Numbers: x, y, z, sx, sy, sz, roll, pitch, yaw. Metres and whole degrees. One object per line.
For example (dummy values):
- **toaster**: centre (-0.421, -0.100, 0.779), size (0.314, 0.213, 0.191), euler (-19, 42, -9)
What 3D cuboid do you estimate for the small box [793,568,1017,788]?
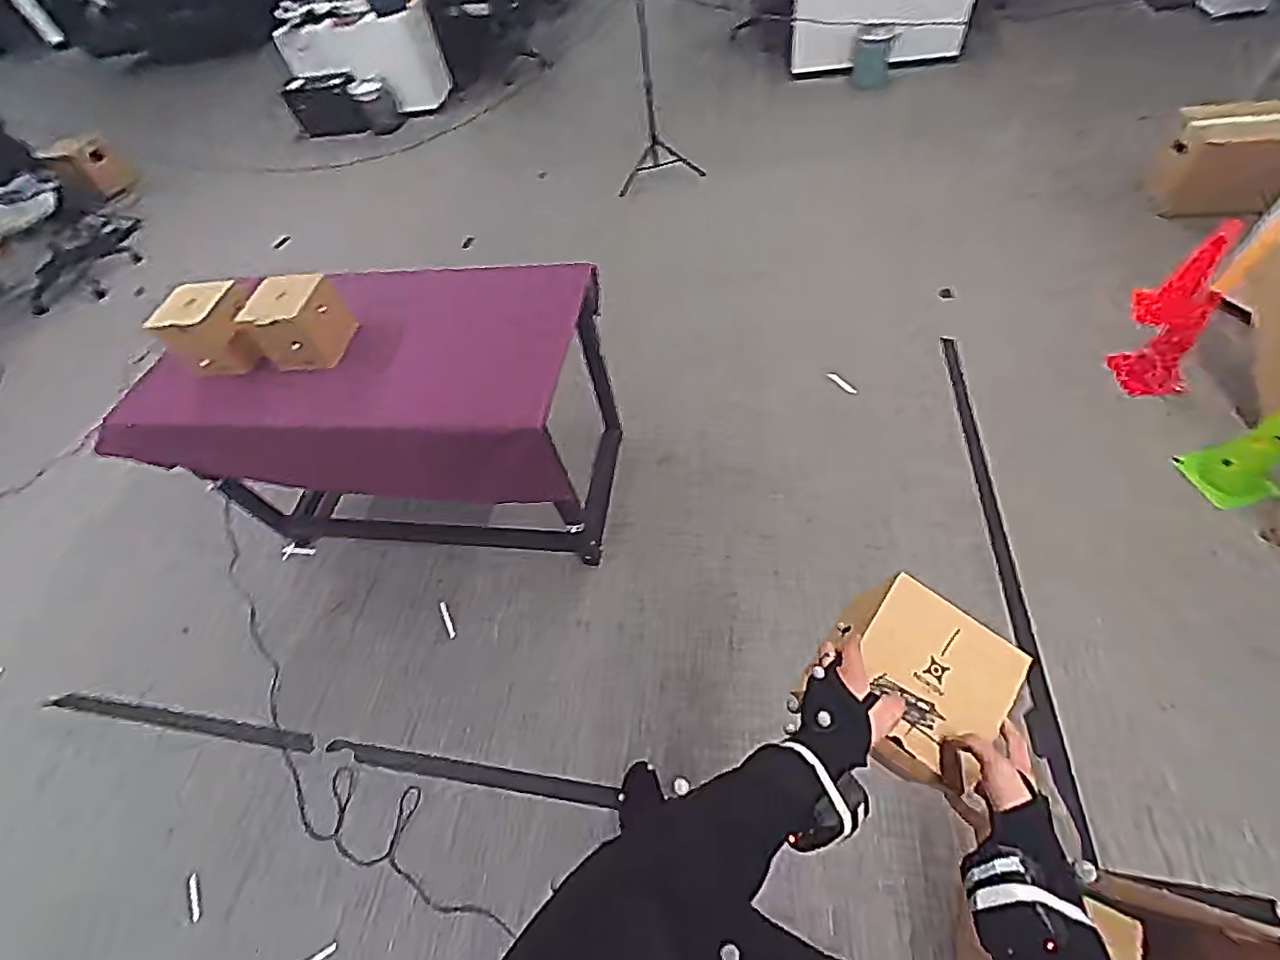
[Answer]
- **small box**: centre (0.311, 0.242, 0.675), size (0.168, 0.176, 0.179), euler (35, 72, 14)

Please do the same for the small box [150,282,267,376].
- **small box**: centre (-1.119, -0.399, 1.440), size (0.168, 0.176, 0.179), euler (-1, 56, 9)

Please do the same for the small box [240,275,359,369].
- **small box**: centre (-0.871, -0.404, 1.405), size (0.168, 0.176, 0.179), euler (1, 56, 9)
